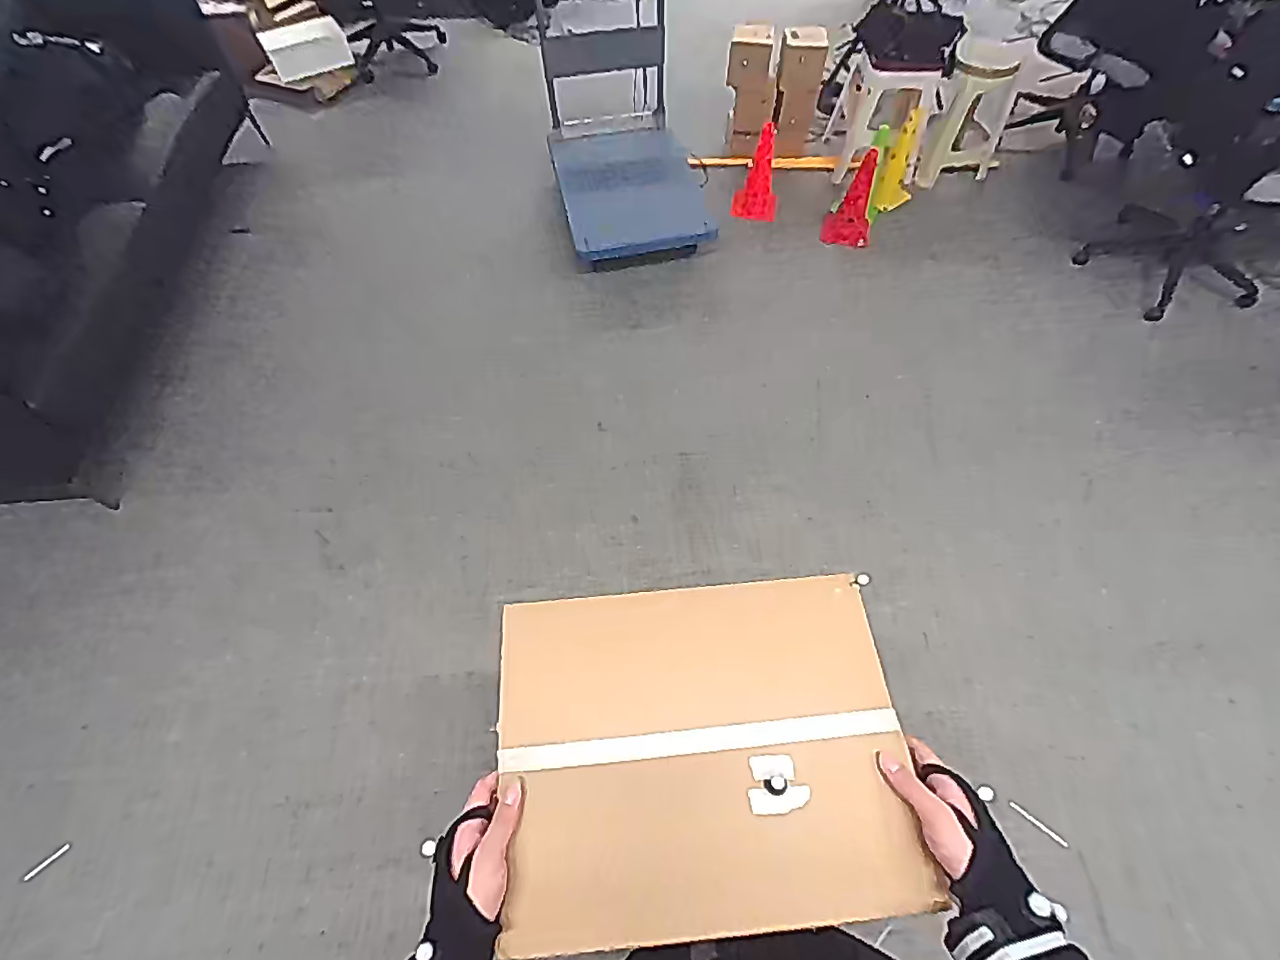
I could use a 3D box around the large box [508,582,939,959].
[{"bbox_3d":[0.063,0.344,0.686,0.408,0.320,0.320,-5,62,-3],"label":"large box"}]
